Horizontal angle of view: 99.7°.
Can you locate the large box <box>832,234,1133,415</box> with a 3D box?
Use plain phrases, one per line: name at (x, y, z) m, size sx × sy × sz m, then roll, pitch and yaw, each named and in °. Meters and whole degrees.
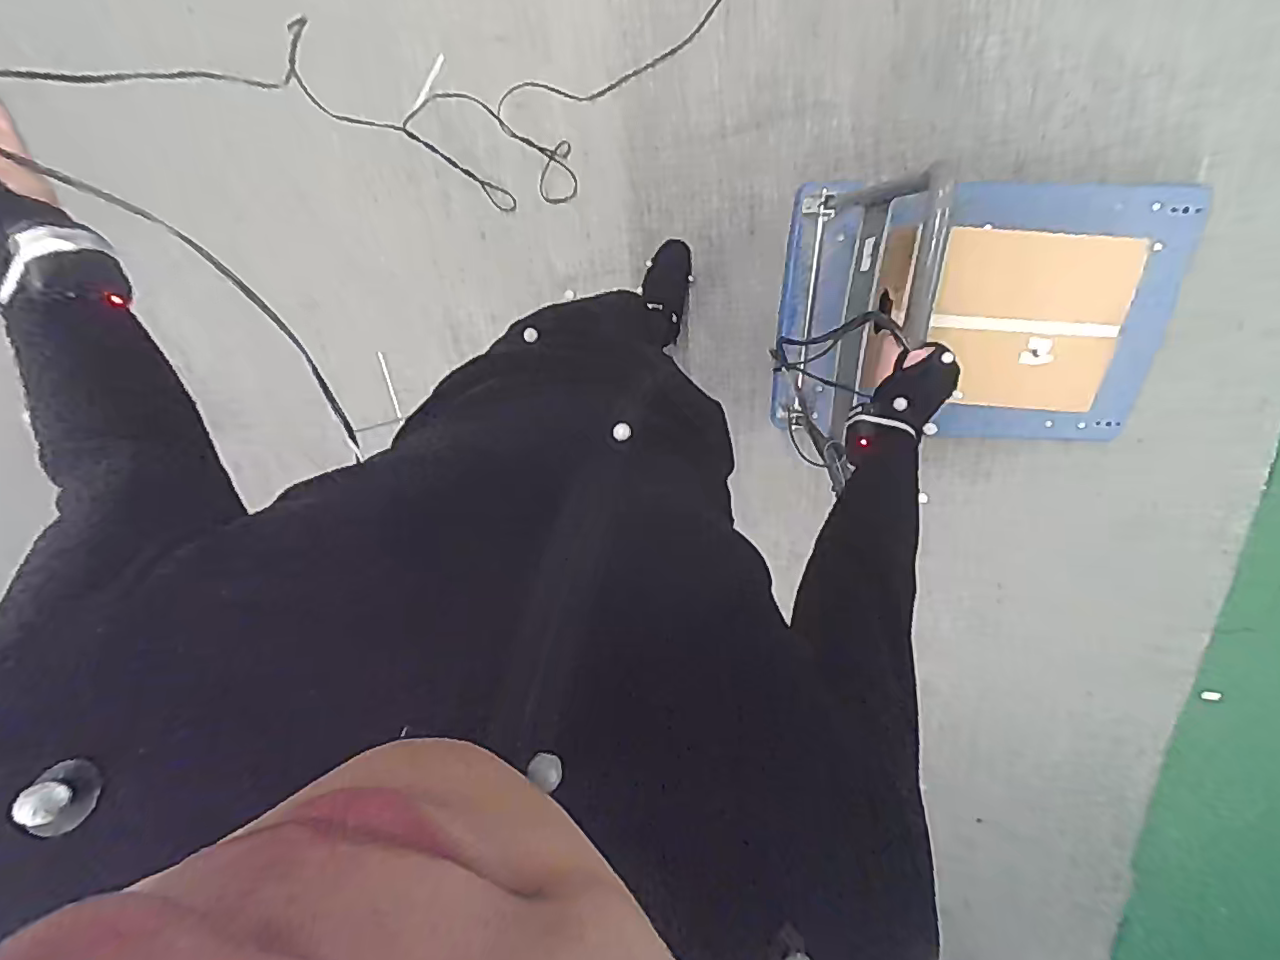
large box at (0.670, -0.335, 1.149) m, size 0.408 × 0.320 × 0.320 m, roll 5°, pitch 112°, yaw 1°
